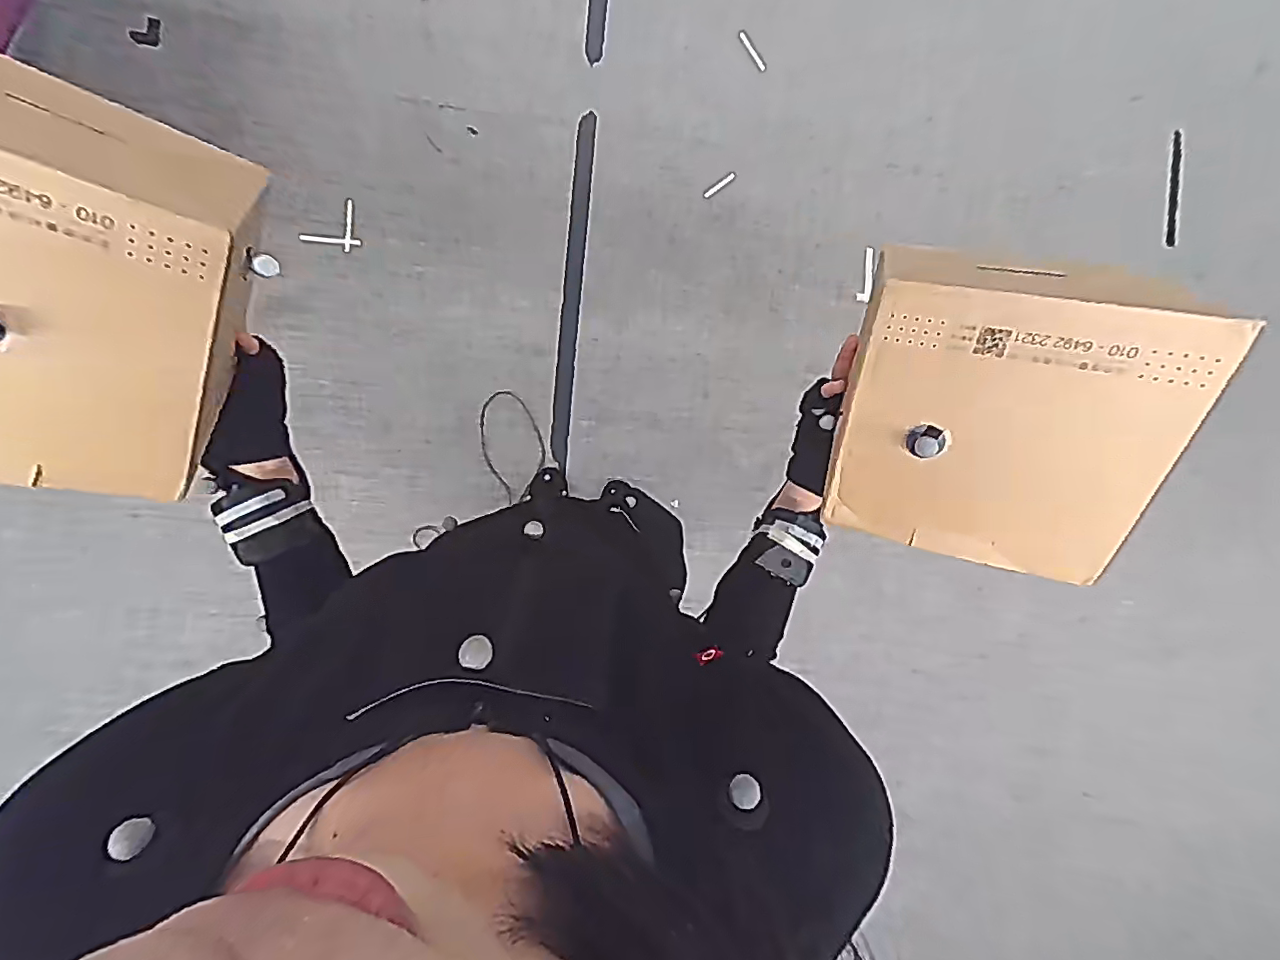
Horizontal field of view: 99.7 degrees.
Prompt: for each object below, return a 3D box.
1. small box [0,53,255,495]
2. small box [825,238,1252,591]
[{"bbox_3d":[-0.325,-0.118,0.288,0.168,0.179,0.176,13,117,-35],"label":"small box"},{"bbox_3d":[0.235,-0.062,0.367,0.168,0.179,0.176,16,124,17],"label":"small box"}]
